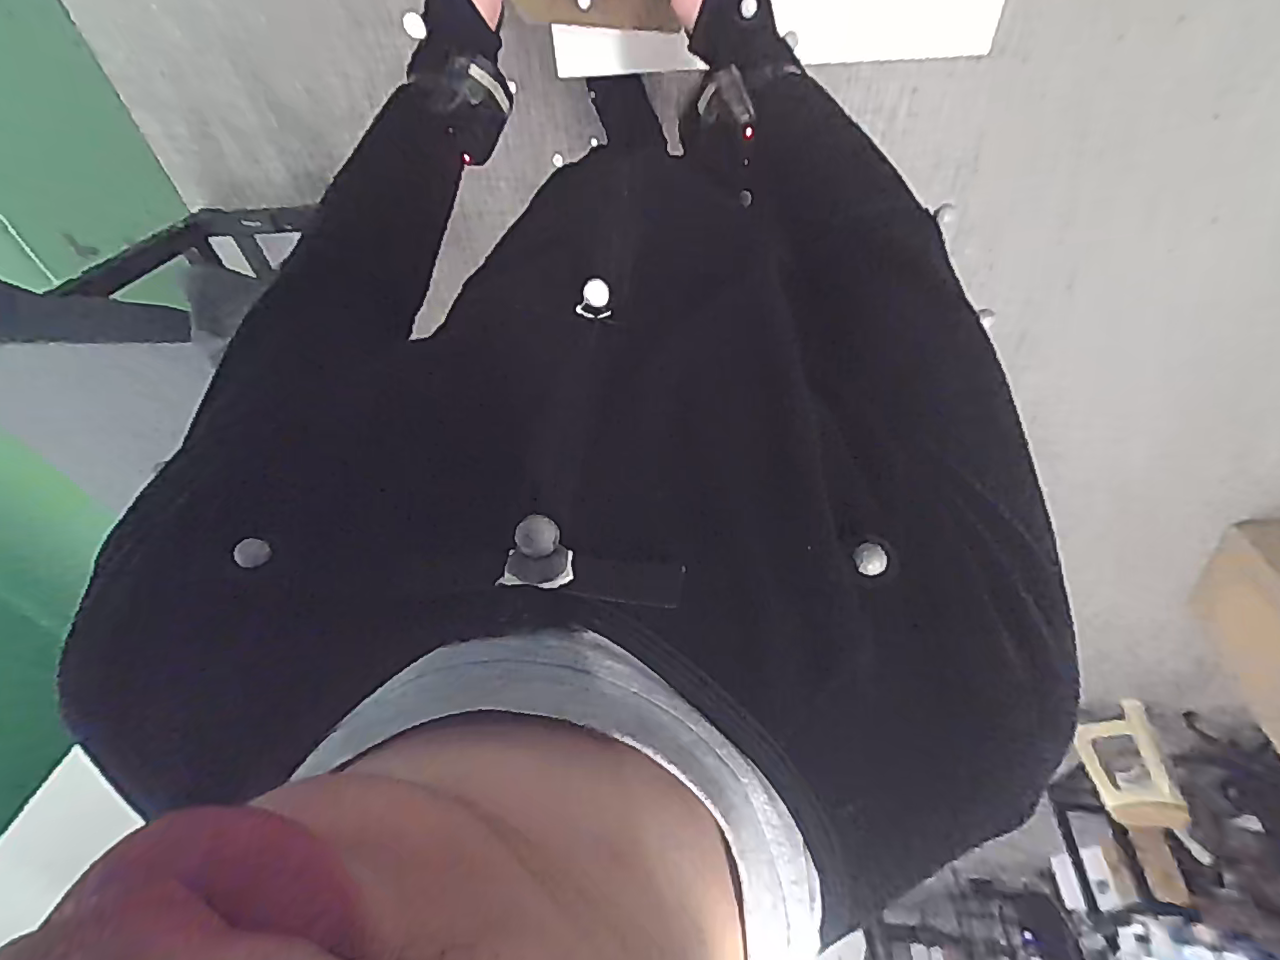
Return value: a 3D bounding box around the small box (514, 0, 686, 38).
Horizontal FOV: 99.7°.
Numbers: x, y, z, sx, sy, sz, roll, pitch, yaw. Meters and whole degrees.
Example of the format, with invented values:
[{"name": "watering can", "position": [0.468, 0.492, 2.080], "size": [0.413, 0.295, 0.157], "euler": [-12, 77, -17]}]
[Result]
[{"name": "small box", "position": [-0.037, -0.526, 0.484], "size": [0.179, 0.176, 0.168], "euler": [3, 117, -3]}]
